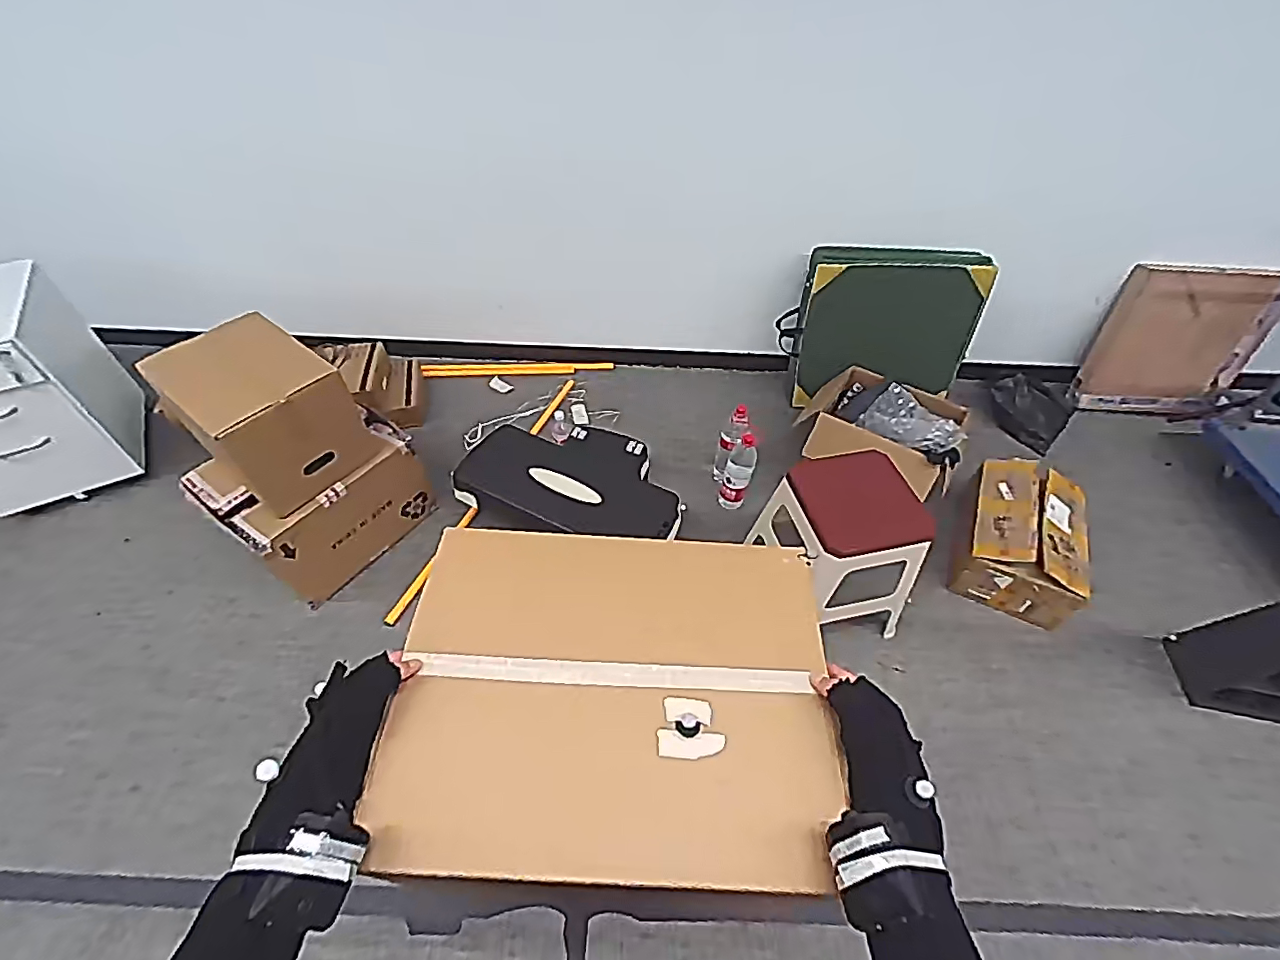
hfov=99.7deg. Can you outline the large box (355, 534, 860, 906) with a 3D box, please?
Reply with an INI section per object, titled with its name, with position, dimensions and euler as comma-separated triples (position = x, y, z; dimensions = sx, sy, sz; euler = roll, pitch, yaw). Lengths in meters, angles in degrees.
[large box]
position = -0.029, 0.284, 0.626
dimensions = 0.408, 0.320, 0.320
euler = 4, 50, -1
